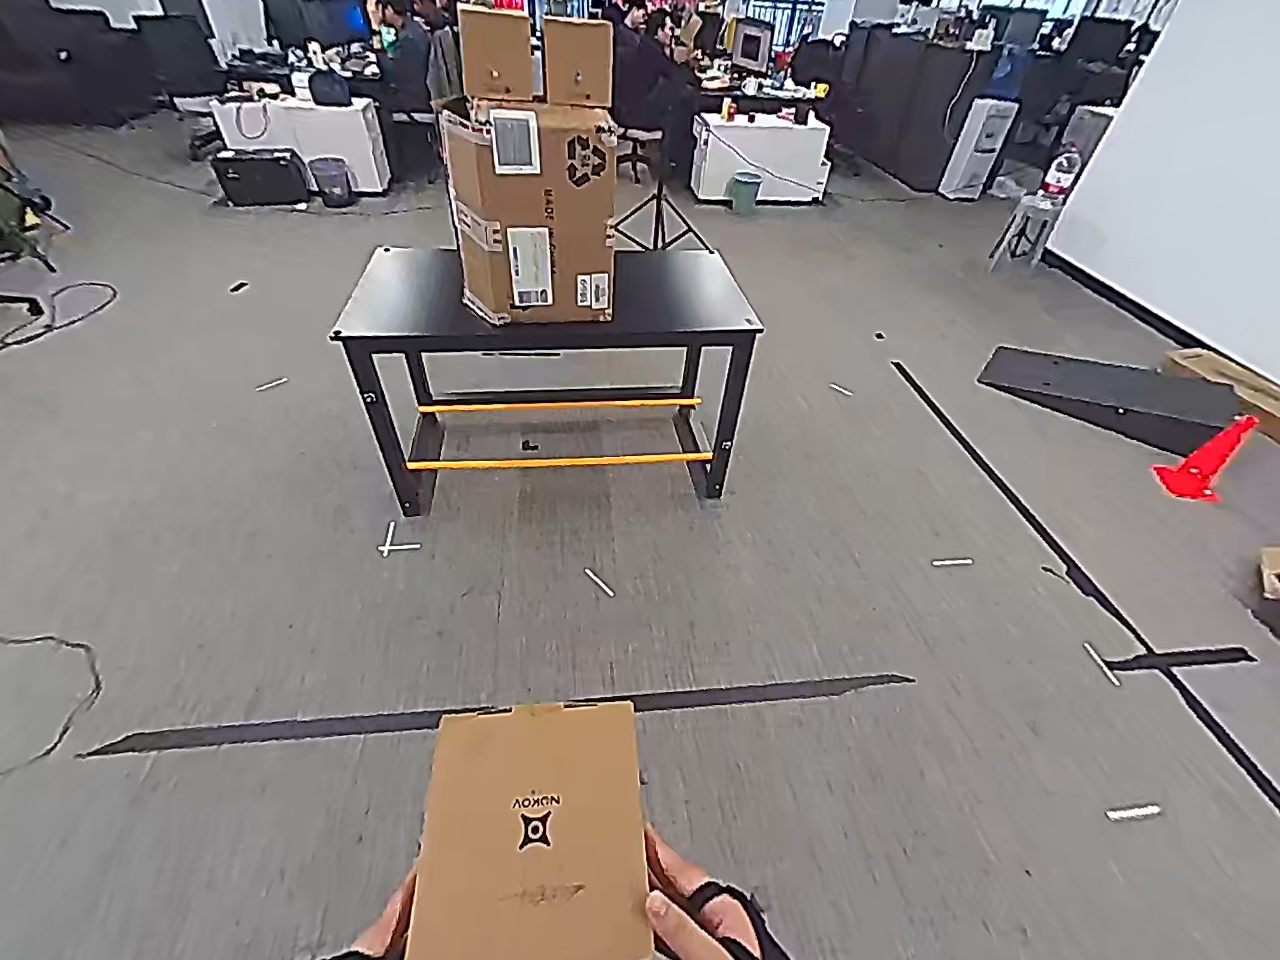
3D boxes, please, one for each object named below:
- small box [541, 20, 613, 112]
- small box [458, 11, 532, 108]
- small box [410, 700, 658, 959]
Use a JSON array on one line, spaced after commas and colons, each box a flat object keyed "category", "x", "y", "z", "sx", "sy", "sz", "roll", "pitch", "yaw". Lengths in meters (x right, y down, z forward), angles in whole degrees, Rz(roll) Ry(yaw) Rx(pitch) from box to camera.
[{"category": "small box", "x": -0.167, "y": -1.071, "z": 1.399, "sx": 0.168, "sy": 0.176, "sz": 0.179, "roll": -5, "pitch": 42, "yaw": -11}, {"category": "small box", "x": -0.362, "y": -1.058, "z": 1.361, "sx": 0.168, "sy": 0.176, "sz": 0.179, "roll": -5, "pitch": 42, "yaw": -14}, {"category": "small box", "x": -0.081, "y": 0.314, "z": 0.470, "sx": 0.168, "sy": 0.176, "sz": 0.179, "roll": -2, "pitch": 48, "yaw": -6}]
